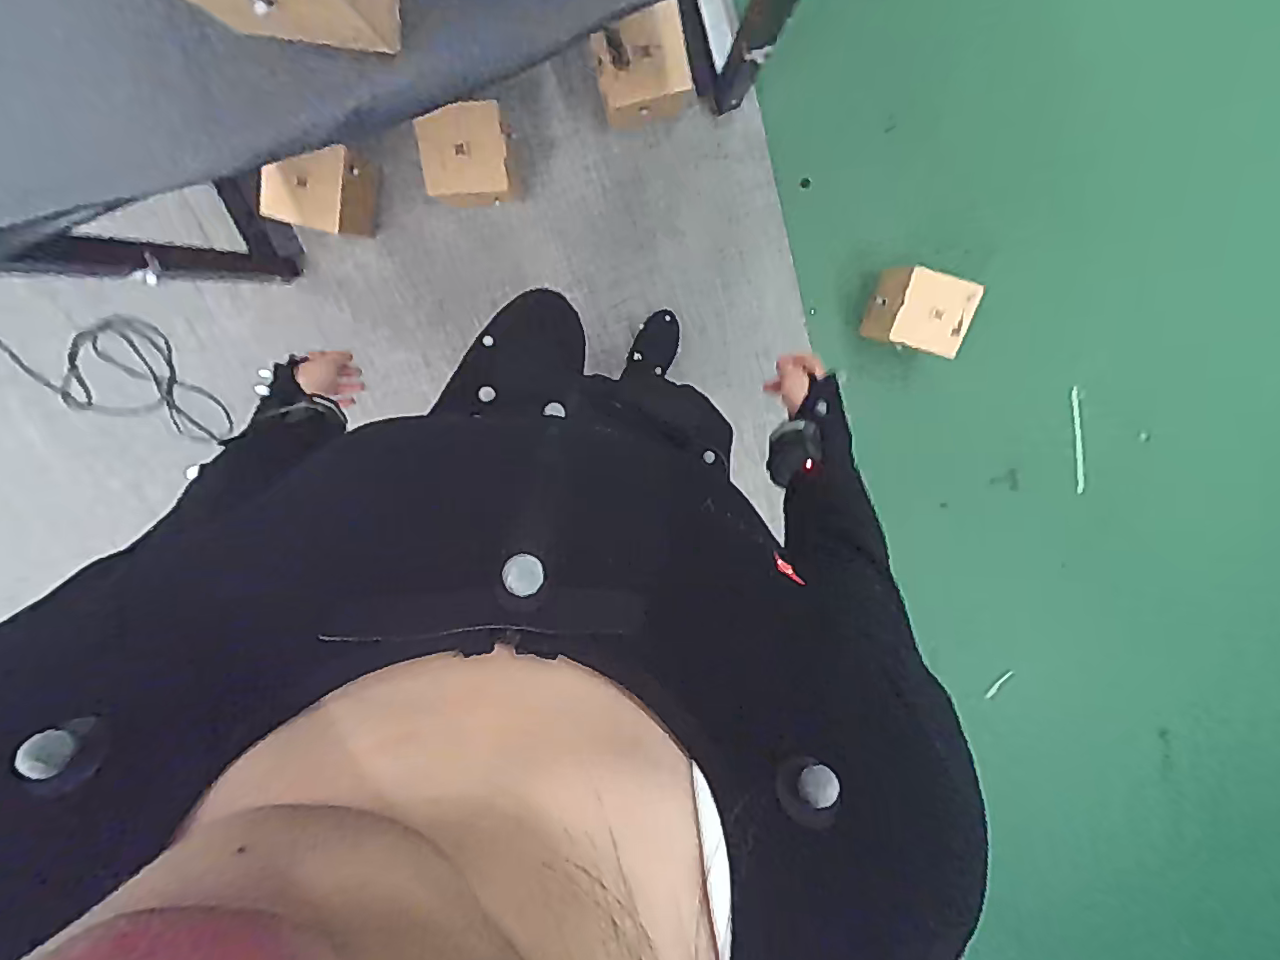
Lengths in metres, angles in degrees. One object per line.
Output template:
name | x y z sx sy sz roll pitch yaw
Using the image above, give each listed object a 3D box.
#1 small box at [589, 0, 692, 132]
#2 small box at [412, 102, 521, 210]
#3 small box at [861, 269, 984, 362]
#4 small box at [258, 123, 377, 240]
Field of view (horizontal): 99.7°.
small box | 0.001 -0.857 1.131 0.179 0.176 0.168 -13 109 2
small box | -0.365 -0.697 1.178 0.179 0.176 0.168 -4 108 2
small box | 0.667 -0.394 1.303 0.179 0.176 0.168 15 107 -6
small box | -0.701 -0.644 1.191 0.168 0.176 0.179 14 107 -5
